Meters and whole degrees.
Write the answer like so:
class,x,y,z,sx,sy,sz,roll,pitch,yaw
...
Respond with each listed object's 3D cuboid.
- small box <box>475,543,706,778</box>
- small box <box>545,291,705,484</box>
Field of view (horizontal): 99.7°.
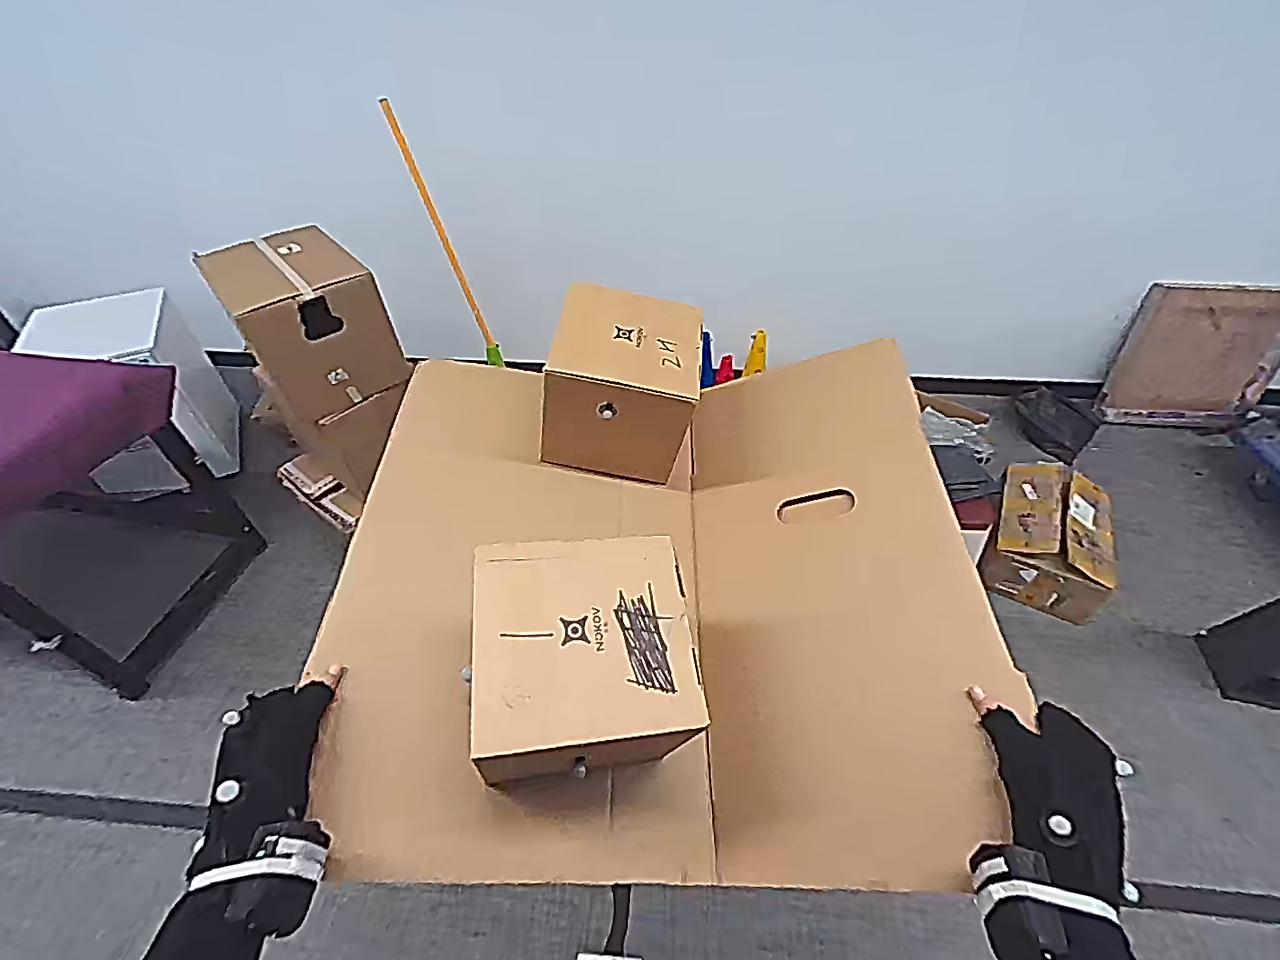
class,x,y,z,sx,sy,sz,roll,pitch,yaw
small box,-0.056,0.171,0.507,0.179,0.176,0.168,-1,56,-12
small box,-0.024,-0.114,0.712,0.179,0.176,0.168,12,55,-5
